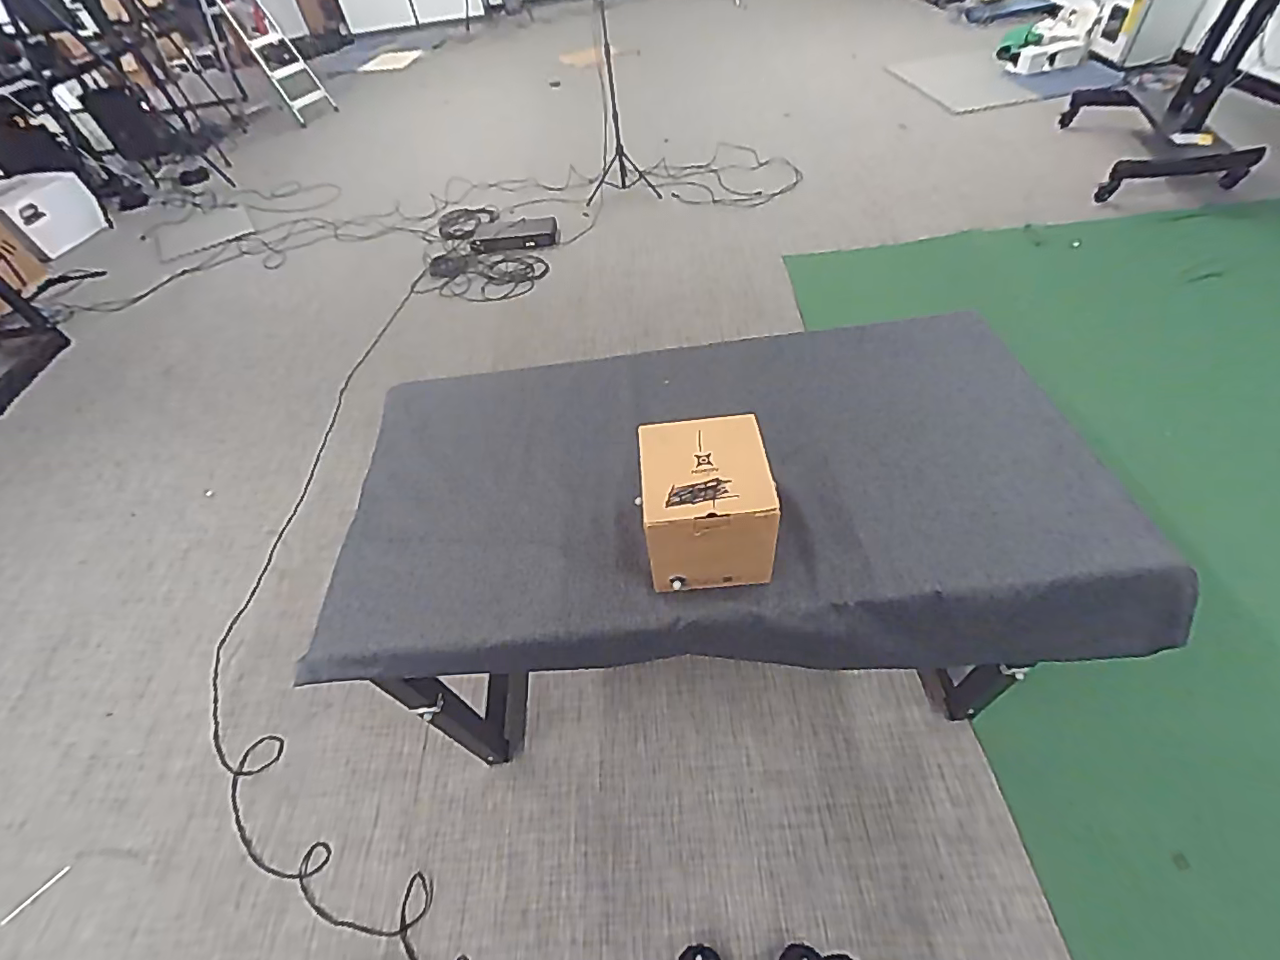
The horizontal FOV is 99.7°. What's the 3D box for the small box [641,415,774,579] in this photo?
[{"bbox_3d":[0.093,0.032,0.783,0.168,0.176,0.179,-5,48,3],"label":"small box"}]
